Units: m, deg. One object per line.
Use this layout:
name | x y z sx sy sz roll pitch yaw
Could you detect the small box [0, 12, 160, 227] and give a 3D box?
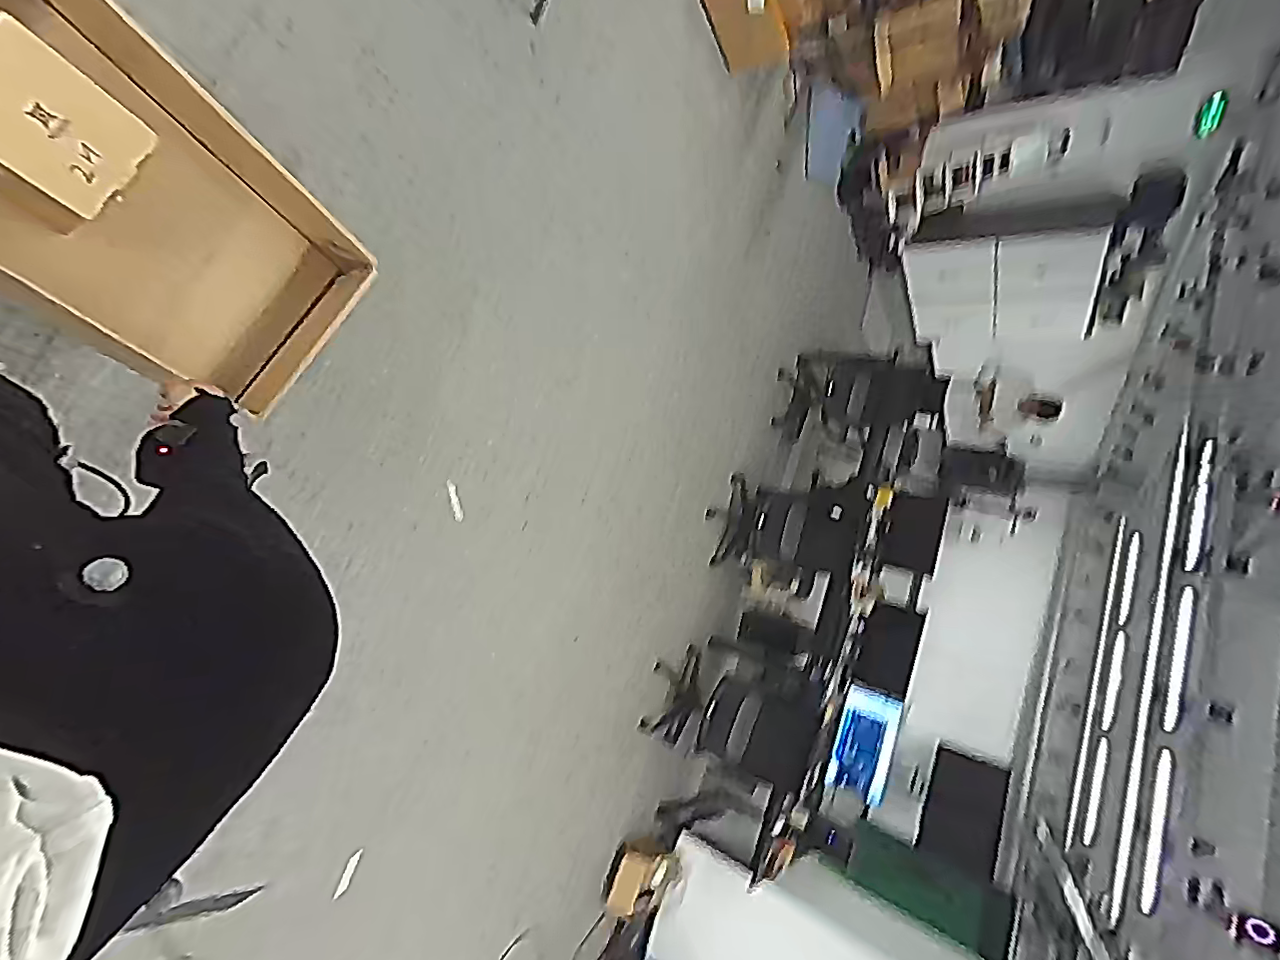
small box | -0.839 -0.480 0.751 0.179 0.176 0.168 45 63 -50
